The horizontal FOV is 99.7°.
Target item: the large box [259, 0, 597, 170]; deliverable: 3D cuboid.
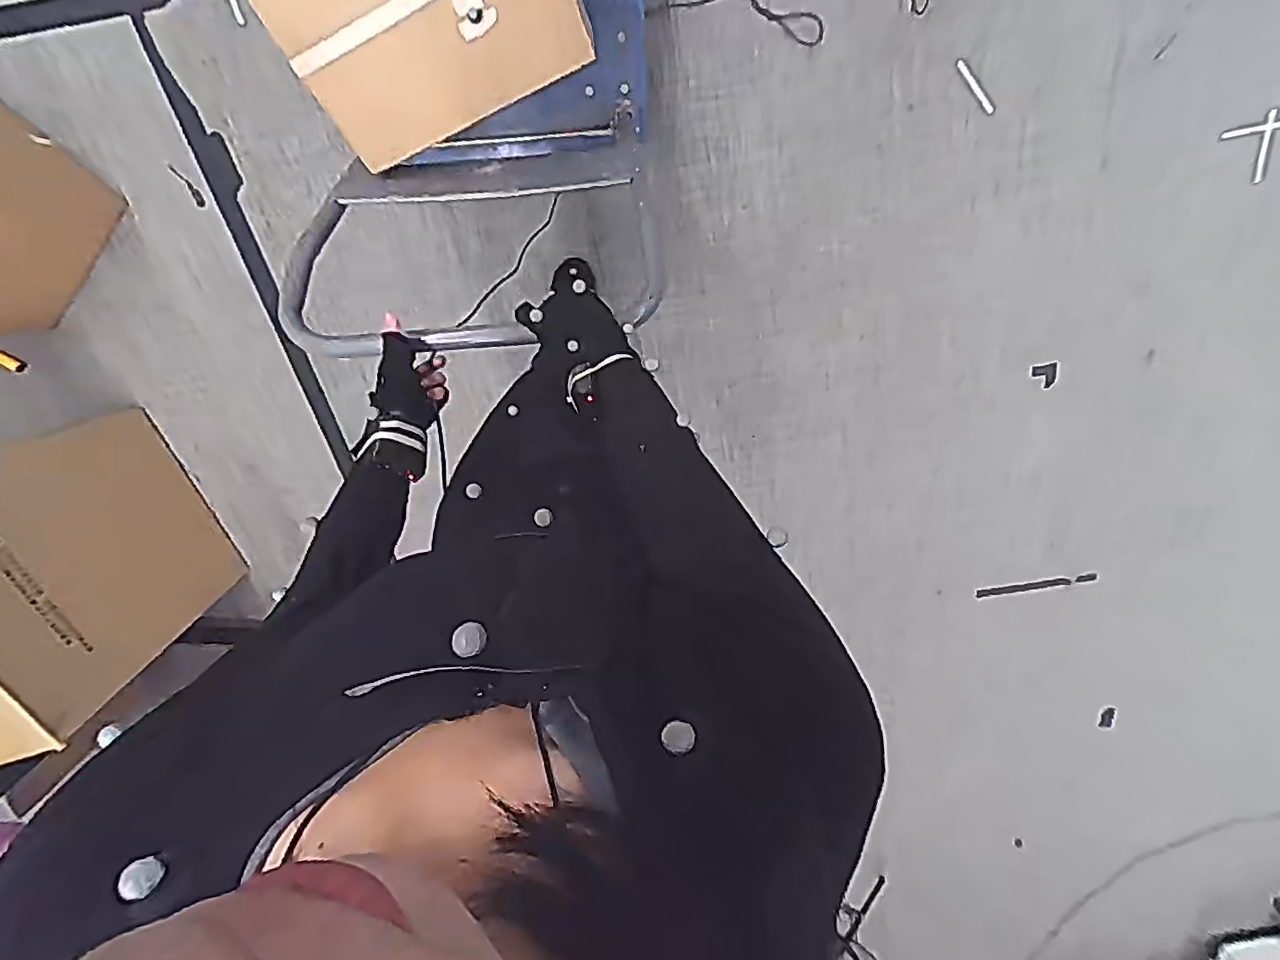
[{"bbox_3d":[-0.314,-0.766,0.837,0.408,0.320,0.320,-20,136,12],"label":"large box"}]
